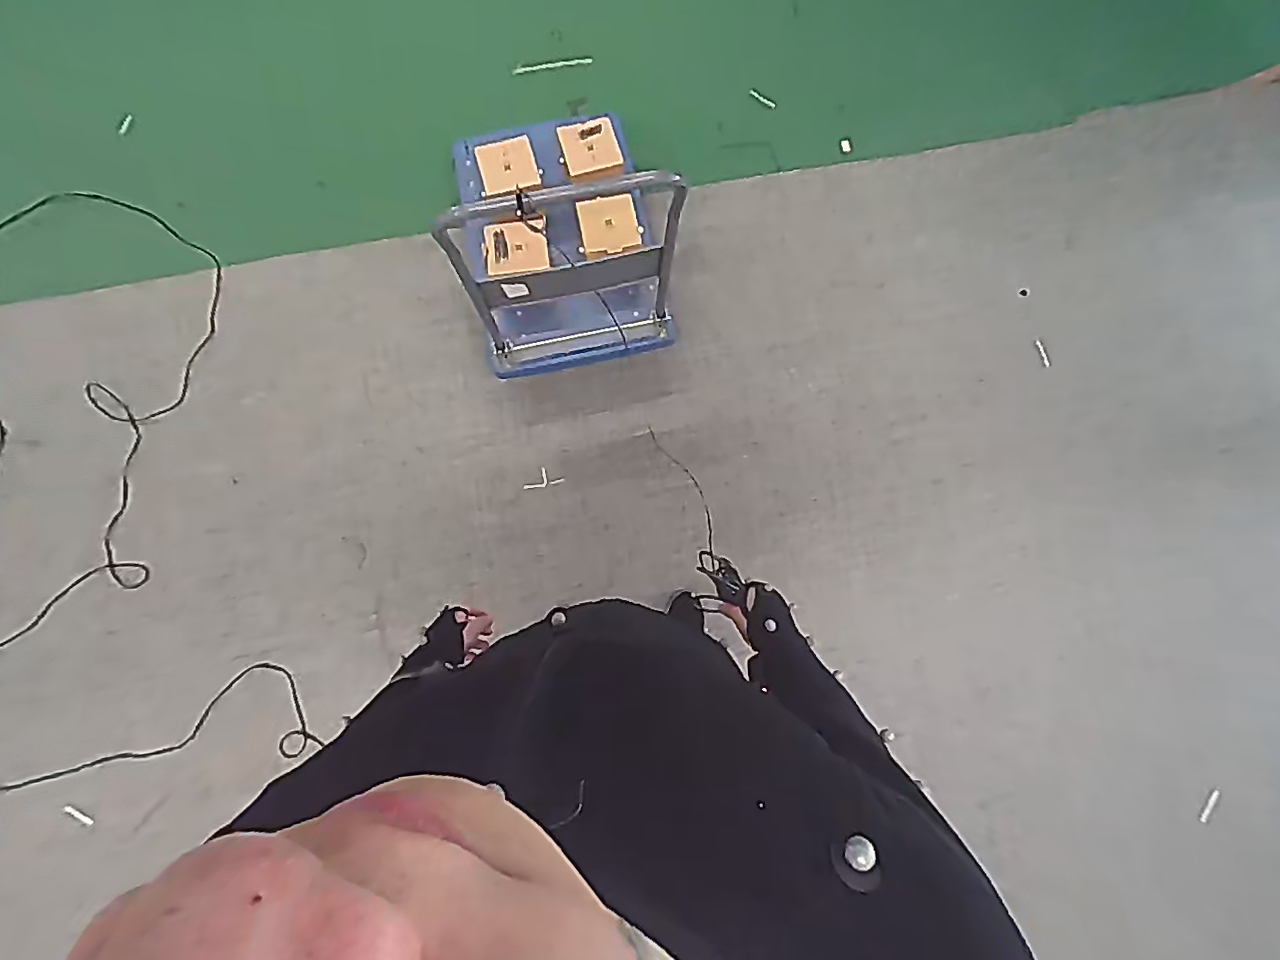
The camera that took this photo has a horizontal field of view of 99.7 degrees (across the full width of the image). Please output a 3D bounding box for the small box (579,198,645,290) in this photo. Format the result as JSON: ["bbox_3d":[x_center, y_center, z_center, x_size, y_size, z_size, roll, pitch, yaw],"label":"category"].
[{"bbox_3d":[-0.084,-0.702,1.620,0.168,0.176,0.179,-11,78,-3],"label":"small box"}]

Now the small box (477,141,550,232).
[{"bbox_3d":[-0.383,-0.890,1.660,0.168,0.176,0.179,-16,78,-5],"label":"small box"}]

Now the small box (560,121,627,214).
[{"bbox_3d":[-0.142,-0.960,1.678,0.168,0.176,0.179,-16,79,-3],"label":"small box"}]
